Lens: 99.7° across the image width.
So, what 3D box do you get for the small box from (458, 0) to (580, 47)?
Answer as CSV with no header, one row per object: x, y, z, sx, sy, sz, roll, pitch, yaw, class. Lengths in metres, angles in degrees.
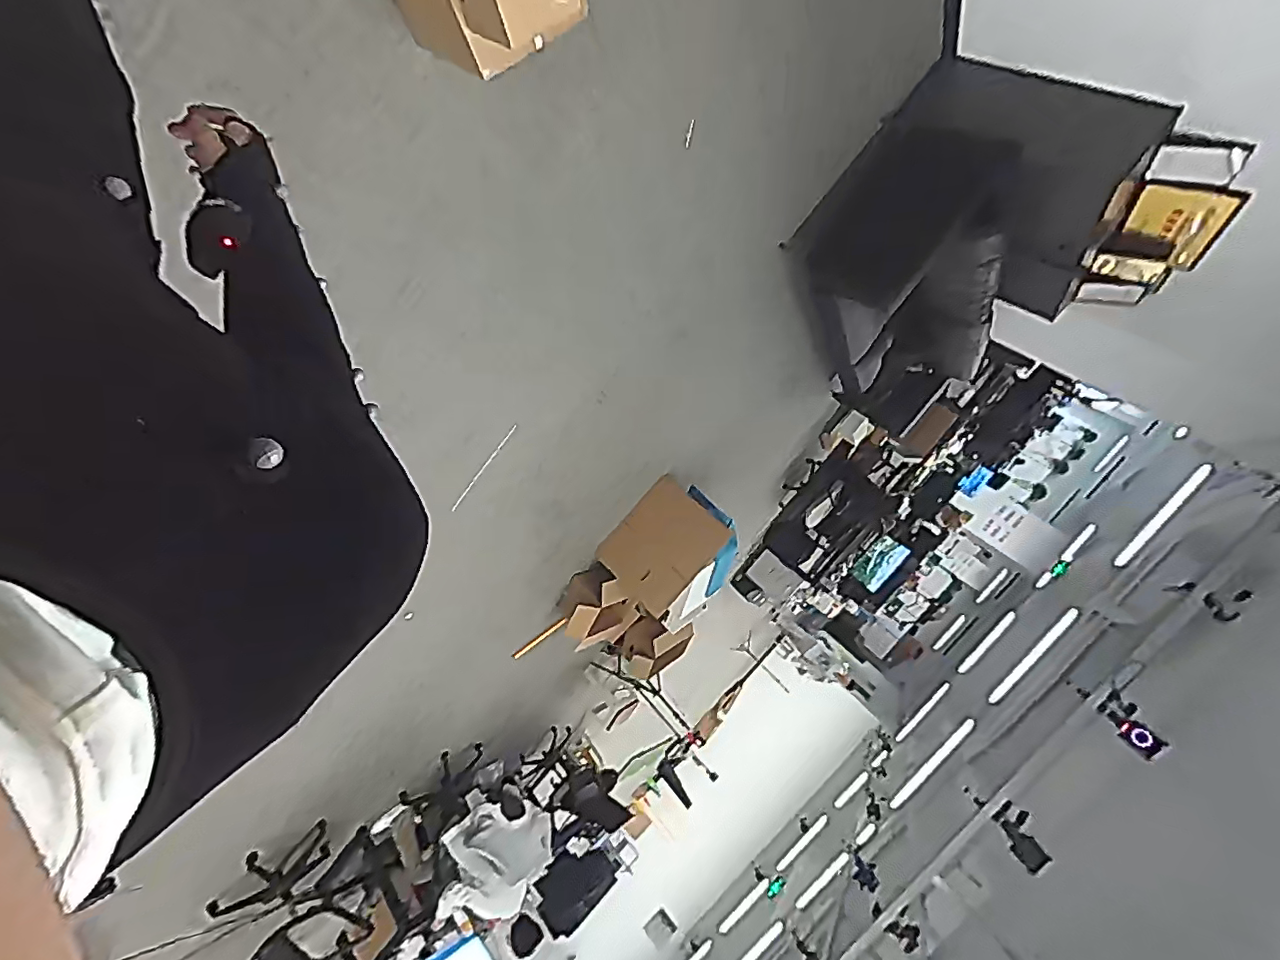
-0.245,-0.962,1.009,0.179,0.176,0.168,-40,151,-11,small box
